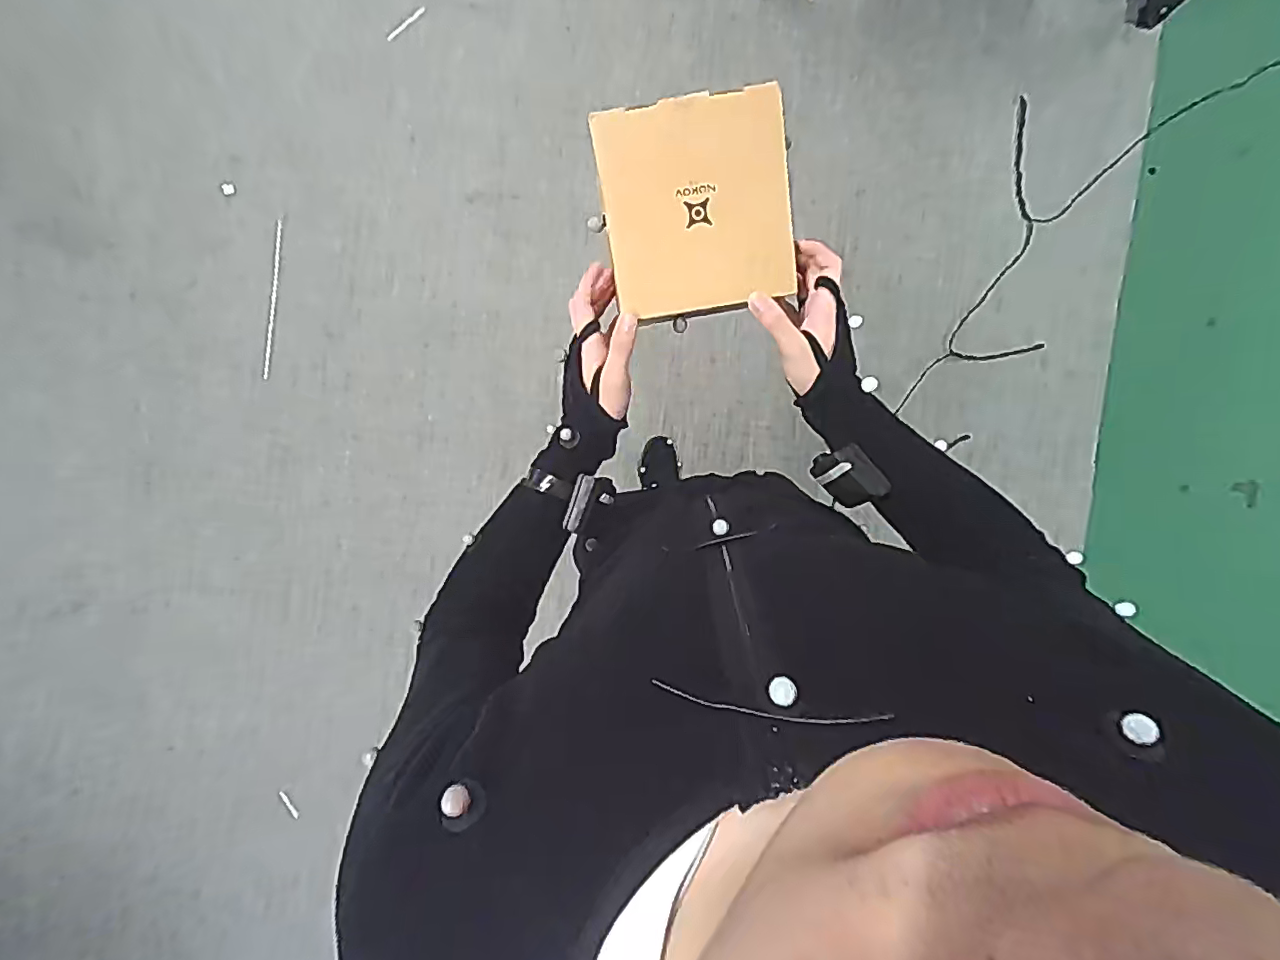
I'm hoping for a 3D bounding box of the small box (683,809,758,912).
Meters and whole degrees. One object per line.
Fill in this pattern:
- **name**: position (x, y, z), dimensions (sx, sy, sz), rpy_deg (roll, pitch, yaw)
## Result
- **small box**: position (0.225, 1.082, 1.550), dimensions (0.179, 0.176, 0.168), rpy_deg (9, 91, 2)
